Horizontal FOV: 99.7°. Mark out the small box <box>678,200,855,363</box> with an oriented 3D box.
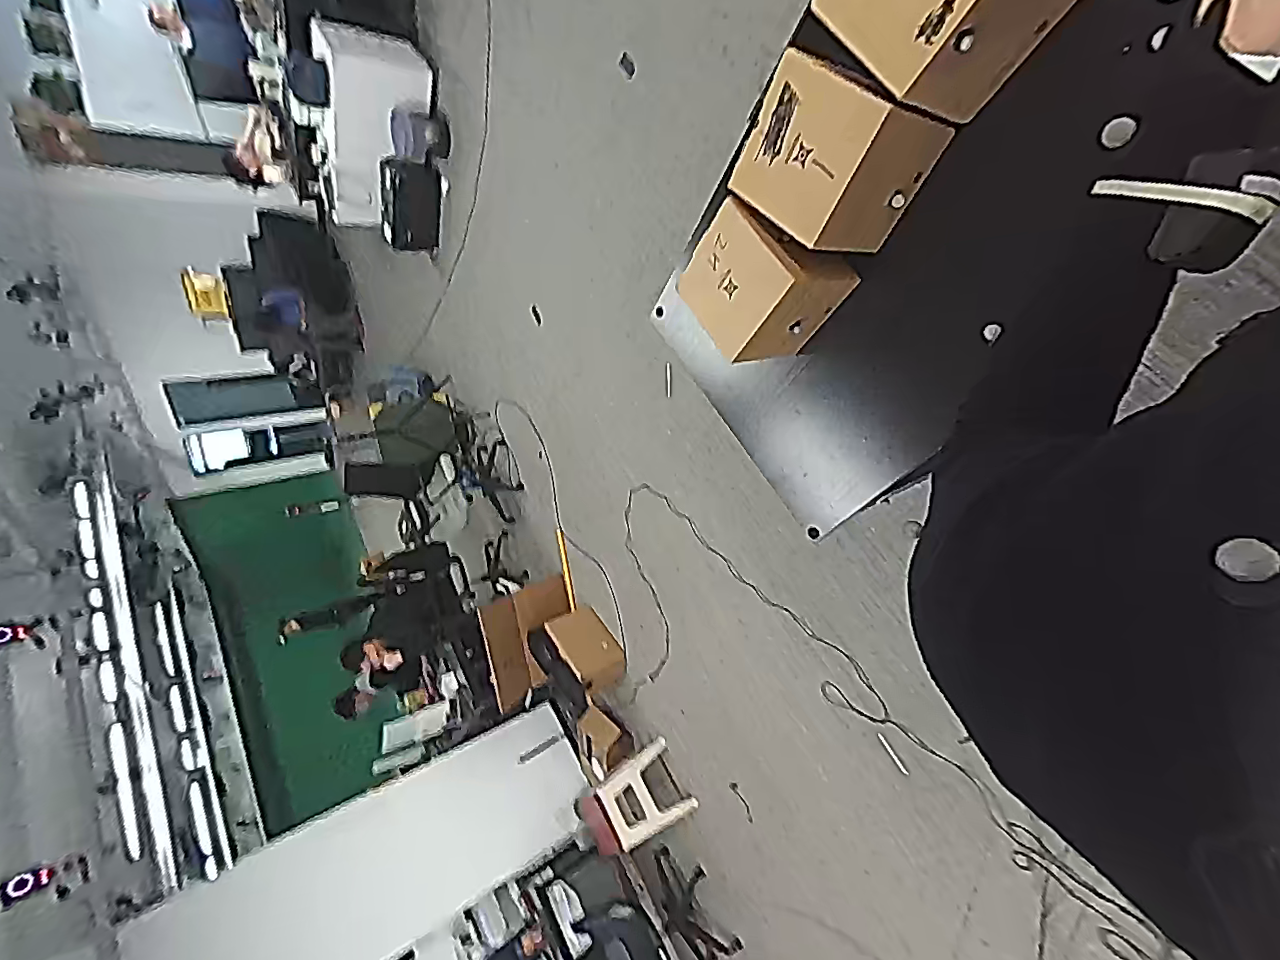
[{"bbox_3d":[0.198,-0.310,0.852,0.179,0.176,0.168,60,141,20],"label":"small box"}]
